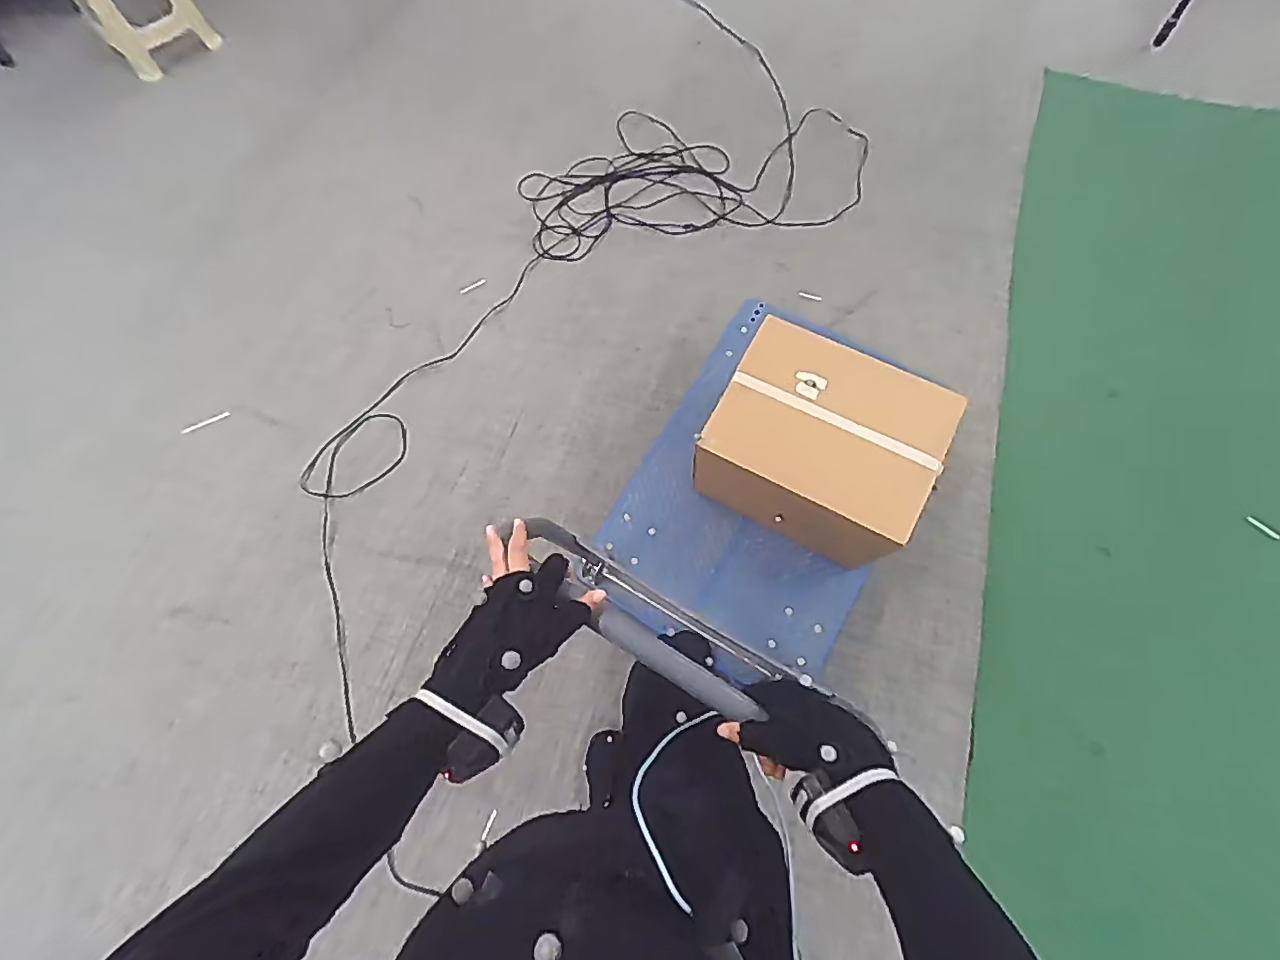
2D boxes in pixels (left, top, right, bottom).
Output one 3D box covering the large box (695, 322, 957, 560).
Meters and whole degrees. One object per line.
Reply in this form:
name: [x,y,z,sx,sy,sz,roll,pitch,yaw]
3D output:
large box: [0.363,-0.065,1.154,0.408,0.320,0.320,26,77,12]
